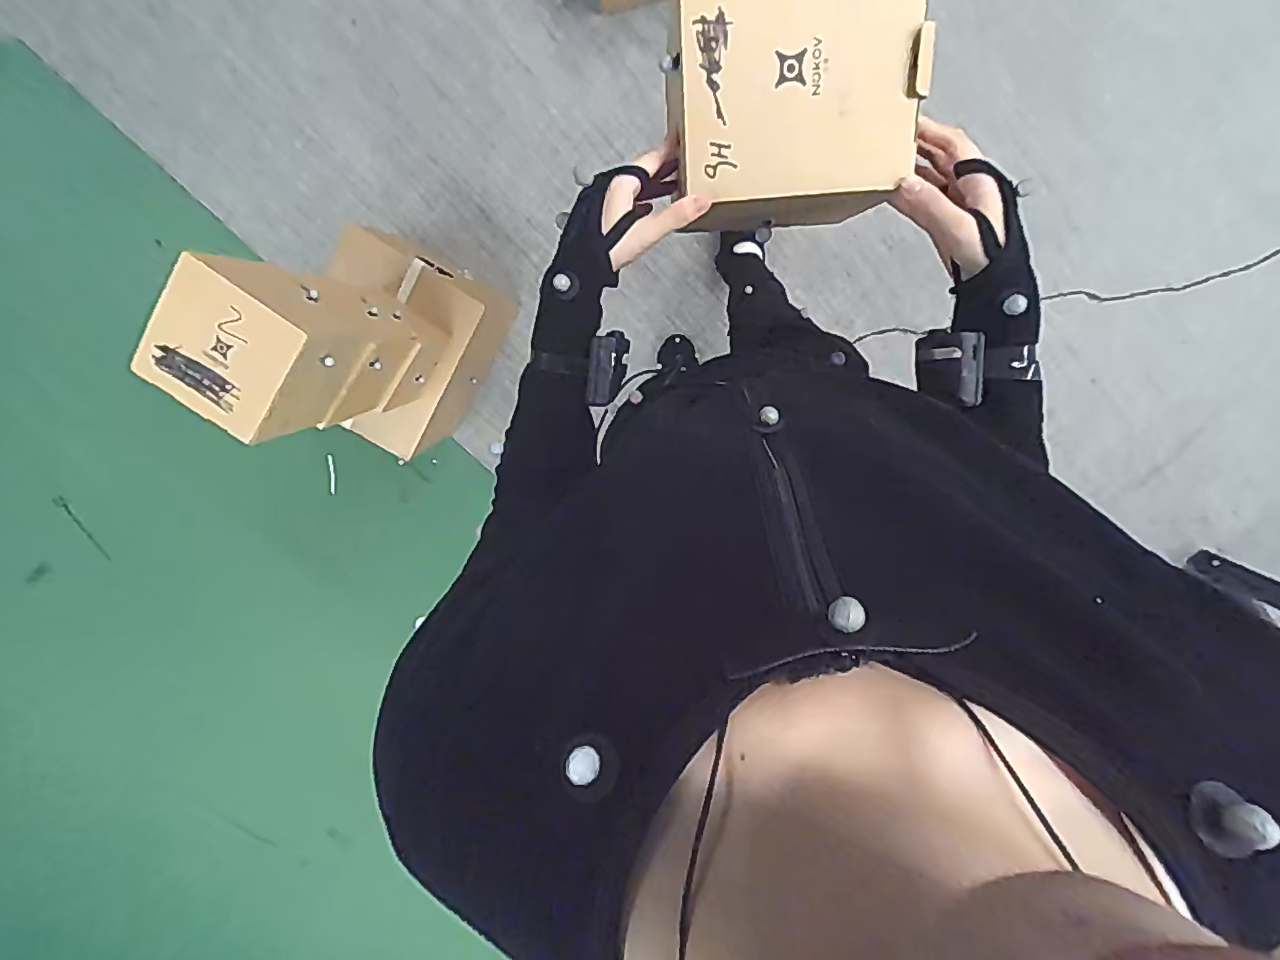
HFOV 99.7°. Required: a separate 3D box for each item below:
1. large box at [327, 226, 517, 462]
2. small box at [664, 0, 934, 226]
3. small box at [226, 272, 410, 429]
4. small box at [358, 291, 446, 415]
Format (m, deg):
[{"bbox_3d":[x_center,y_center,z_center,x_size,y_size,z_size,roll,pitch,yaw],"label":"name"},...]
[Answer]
[{"bbox_3d":[-0.544,-0.320,1.287,0.320,0.320,0.408,31,106,-7],"label":"large box"},{"bbox_3d":[0.116,-0.320,0.458,0.179,0.176,0.168,-3,106,-1],"label":"small box"},{"bbox_3d":[-0.516,-0.213,0.893,0.168,0.176,0.179,37,103,-10],"label":"small box"},{"bbox_3d":[-0.510,-0.253,1.050,0.179,0.176,0.168,36,104,-10],"label":"small box"}]
